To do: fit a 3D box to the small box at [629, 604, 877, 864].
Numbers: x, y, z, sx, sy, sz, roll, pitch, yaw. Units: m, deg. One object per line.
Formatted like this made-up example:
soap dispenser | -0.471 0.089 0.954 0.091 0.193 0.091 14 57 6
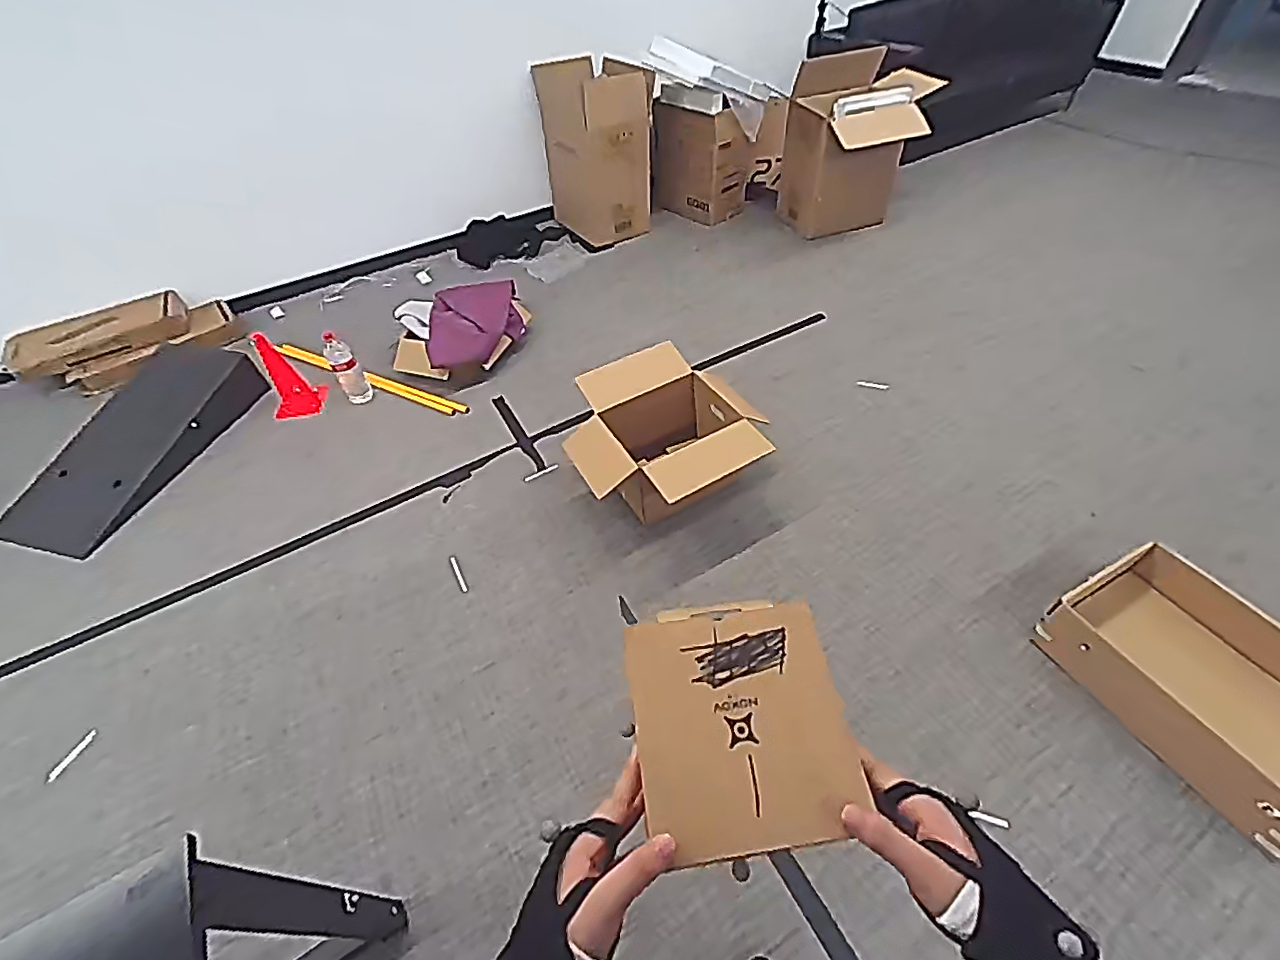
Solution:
small box | 0.079 0.235 0.496 0.168 0.176 0.179 -7 55 -4
